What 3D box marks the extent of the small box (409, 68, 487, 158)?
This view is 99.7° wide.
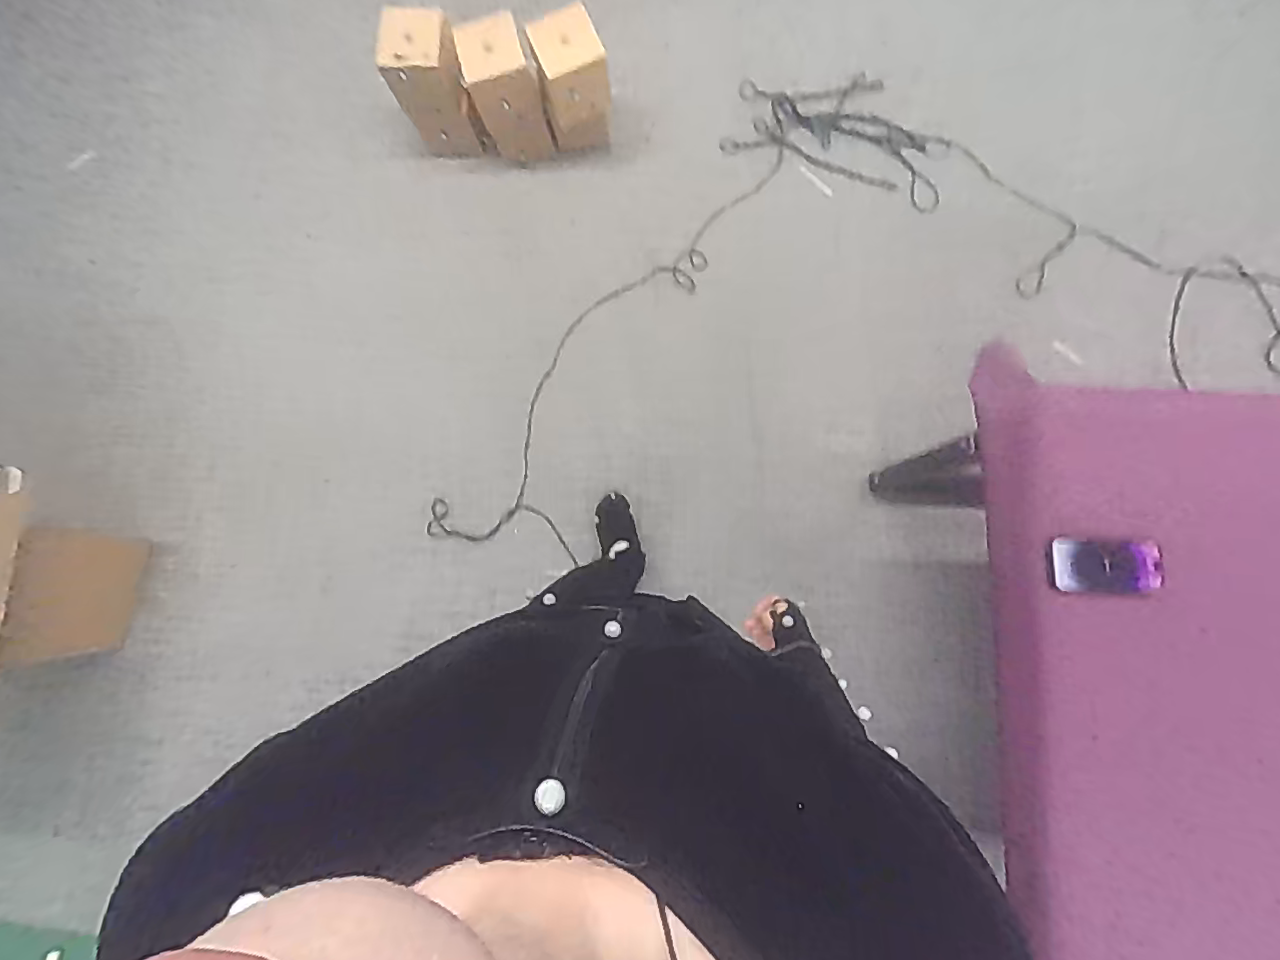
[{"bbox_3d":[-0.577,-1.115,1.653,0.179,0.176,0.168,1,81,4],"label":"small box"}]

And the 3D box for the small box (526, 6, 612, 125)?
[{"bbox_3d":[-0.184,-1.106,1.462,0.168,0.176,0.179,-23,80,-1],"label":"small box"}]

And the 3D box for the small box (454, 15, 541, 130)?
[{"bbox_3d":[-0.381,-1.098,1.476,0.168,0.176,0.179,-16,81,1],"label":"small box"}]
